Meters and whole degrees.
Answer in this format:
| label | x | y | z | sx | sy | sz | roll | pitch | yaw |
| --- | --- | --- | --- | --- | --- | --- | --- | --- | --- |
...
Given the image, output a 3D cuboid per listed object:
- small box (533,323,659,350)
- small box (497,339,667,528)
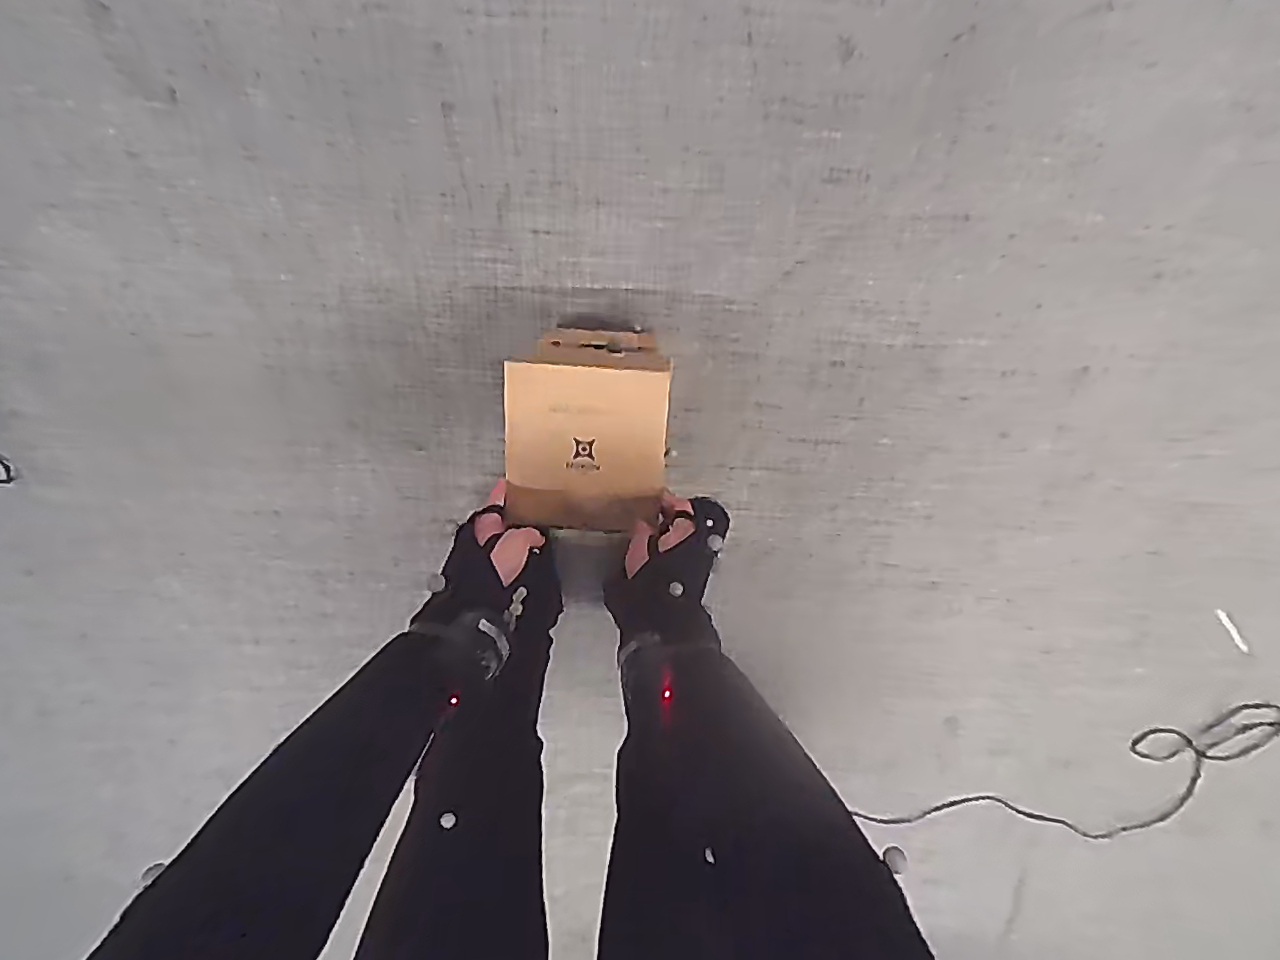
| label | x | y | z | sx | sy | sz | roll | pitch | yaw |
| --- | --- | --- | --- | --- | --- | --- | --- | --- | --- |
| small box | -0.063 | -0.134 | 0.801 | 0.168 | 0.176 | 0.179 | 2 | 112 | -1 |
| small box | -0.056 | -0.062 | 0.619 | 0.168 | 0.176 | 0.179 | 3 | 109 | 2 |
